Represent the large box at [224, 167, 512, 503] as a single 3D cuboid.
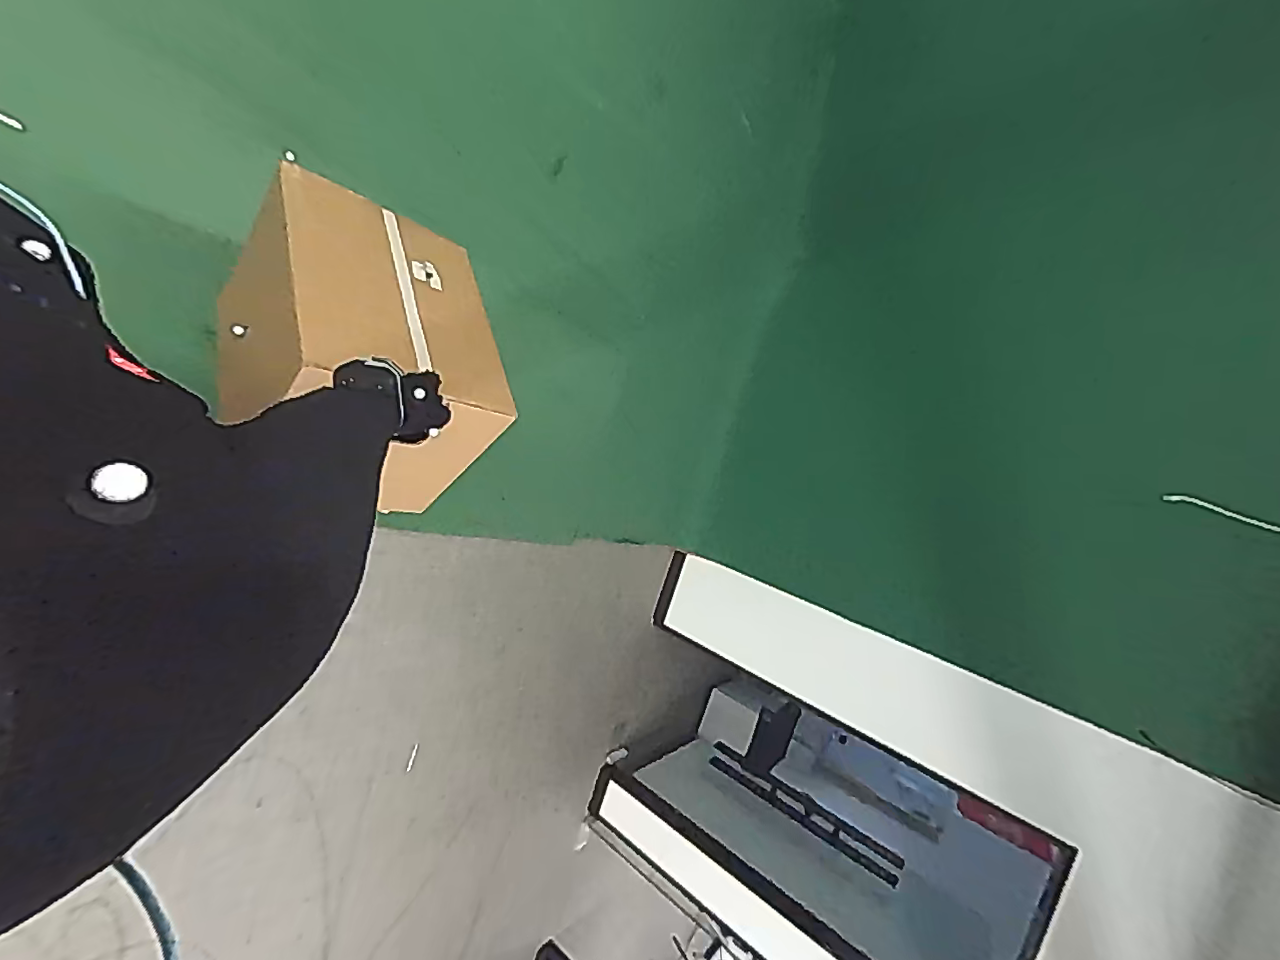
[{"bbox_3d":[-0.474,-0.209,0.919,0.320,0.408,0.320,-37,152,29],"label":"large box"}]
